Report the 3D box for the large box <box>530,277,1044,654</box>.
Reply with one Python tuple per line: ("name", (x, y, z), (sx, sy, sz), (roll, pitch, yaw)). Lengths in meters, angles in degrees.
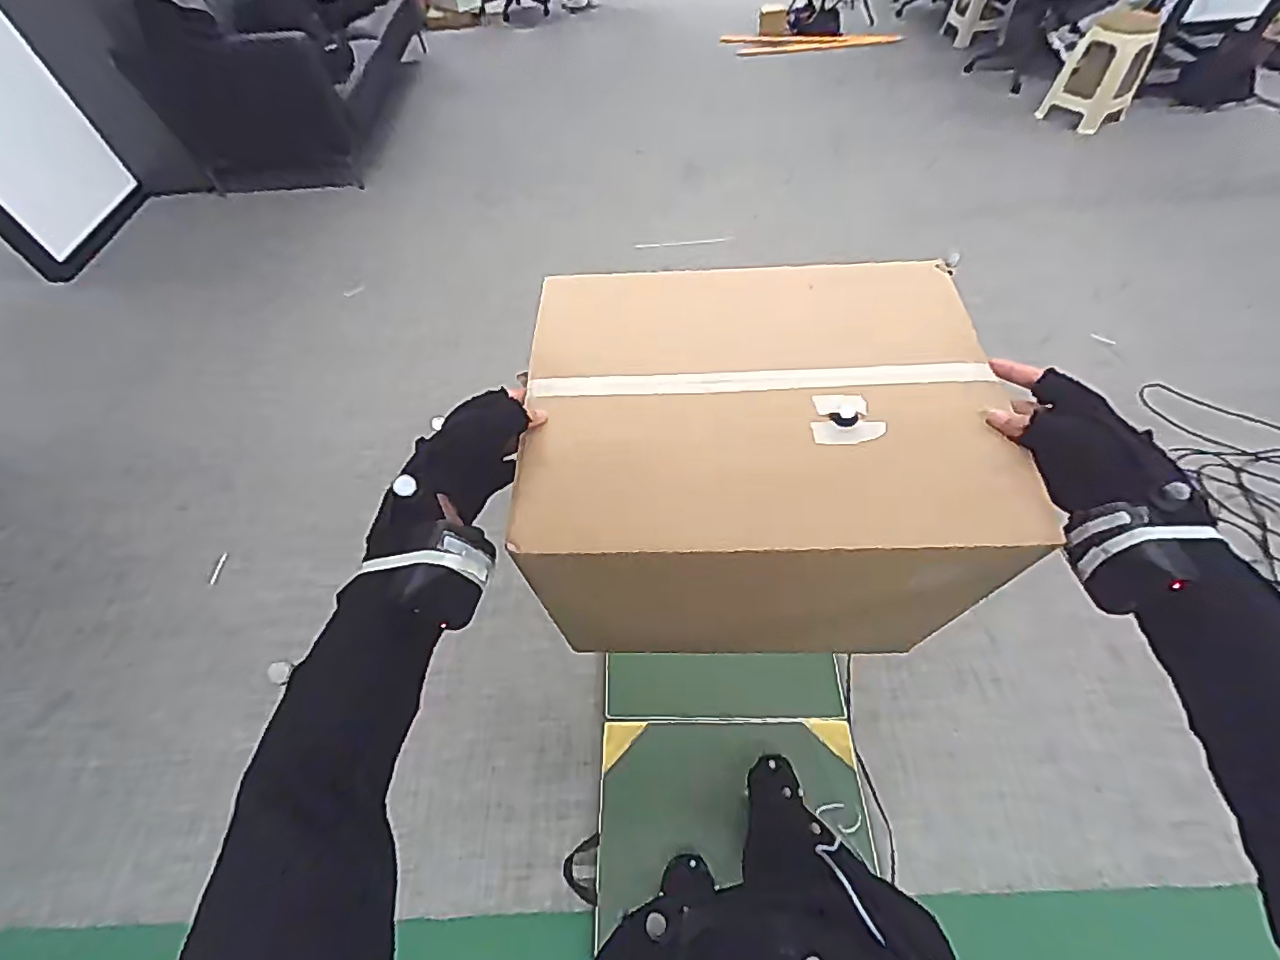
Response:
("large box", (0.113, 0.002, 0.616), (0.408, 0.320, 0.320), (-1, 59, 2))
